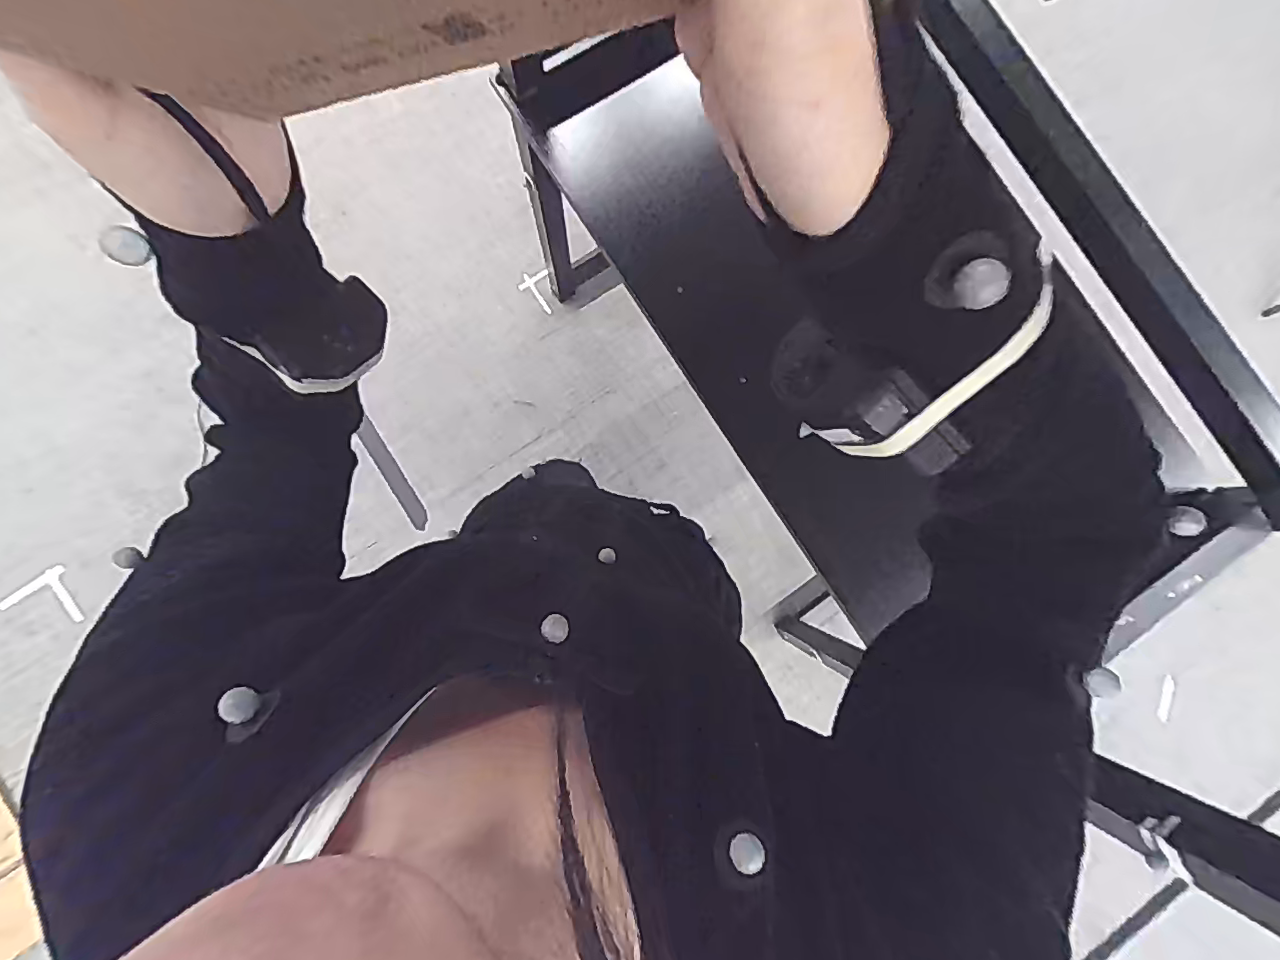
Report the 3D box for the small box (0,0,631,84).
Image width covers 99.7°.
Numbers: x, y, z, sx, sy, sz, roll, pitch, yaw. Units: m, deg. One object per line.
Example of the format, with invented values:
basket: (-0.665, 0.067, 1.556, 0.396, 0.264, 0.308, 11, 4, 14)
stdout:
small box: (-0.094, -0.186, 0.074, 0.168, 0.176, 0.179, 0, 109, 17)
